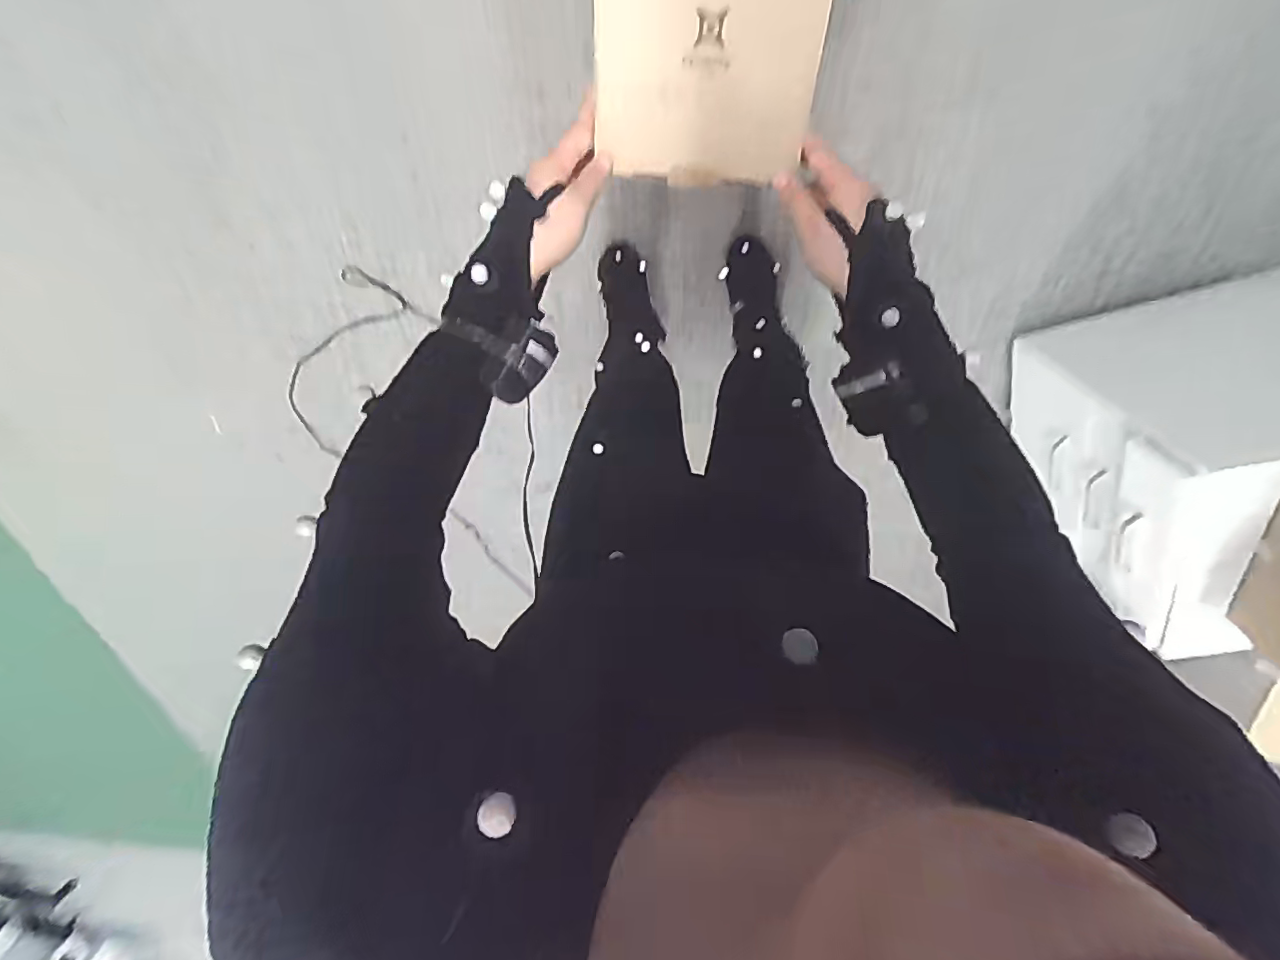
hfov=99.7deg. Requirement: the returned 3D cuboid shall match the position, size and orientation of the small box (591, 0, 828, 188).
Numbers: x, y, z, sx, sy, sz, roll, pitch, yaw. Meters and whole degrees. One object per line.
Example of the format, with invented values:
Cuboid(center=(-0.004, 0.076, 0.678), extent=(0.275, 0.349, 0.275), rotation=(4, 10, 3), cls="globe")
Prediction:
Cuboid(center=(0.052, -0.366, 0.453), extent=(0.168, 0.176, 0.179), rotation=(4, 130, 0), cls="small box")
